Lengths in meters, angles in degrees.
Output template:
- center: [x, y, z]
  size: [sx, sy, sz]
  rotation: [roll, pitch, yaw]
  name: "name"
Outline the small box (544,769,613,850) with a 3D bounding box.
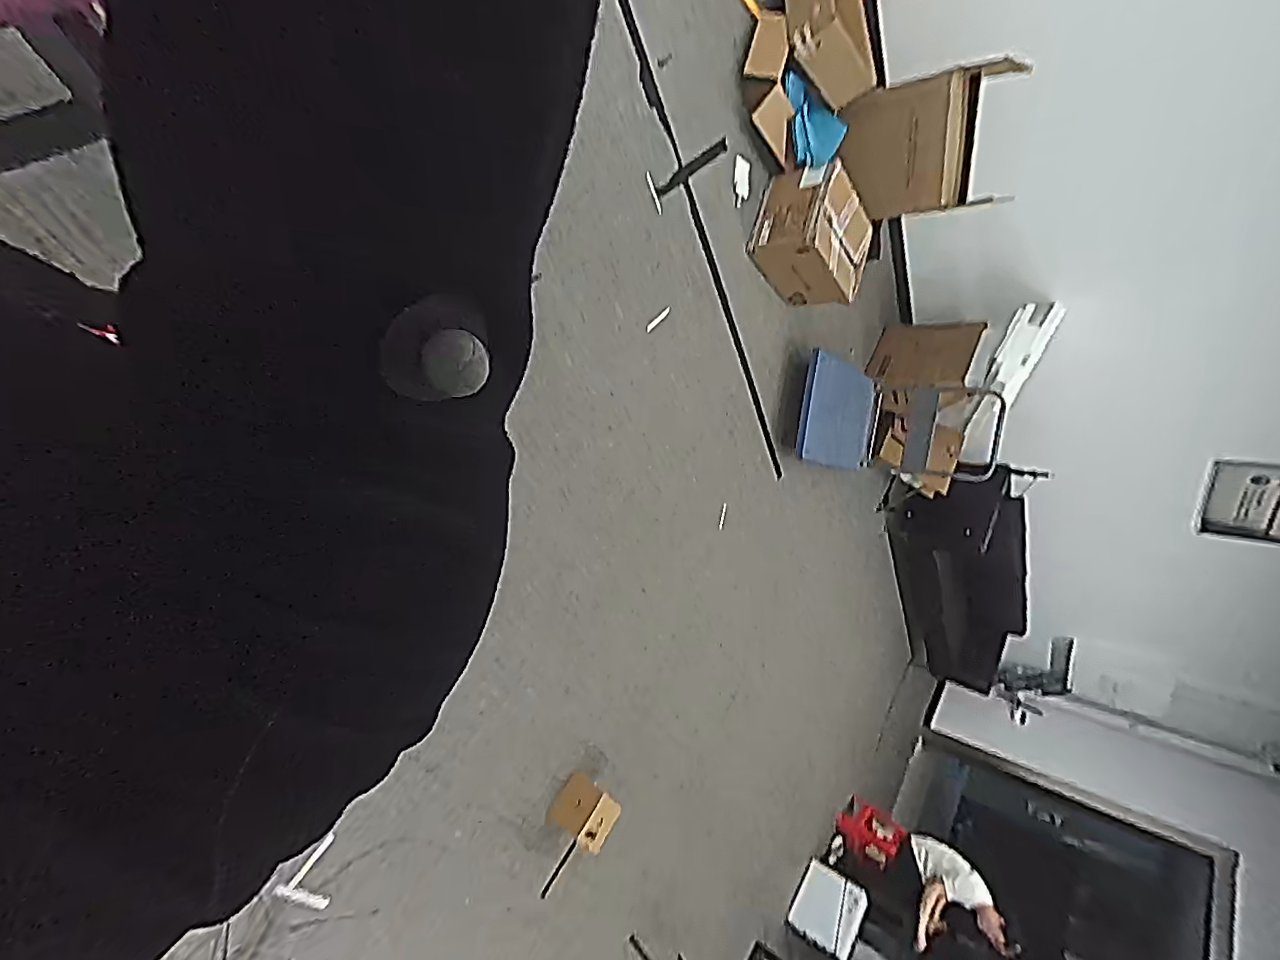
- center: [-0.240, 1.246, 2.053]
  size: [0.179, 0.176, 0.168]
  rotation: [-50, 131, -30]
  name: "small box"
